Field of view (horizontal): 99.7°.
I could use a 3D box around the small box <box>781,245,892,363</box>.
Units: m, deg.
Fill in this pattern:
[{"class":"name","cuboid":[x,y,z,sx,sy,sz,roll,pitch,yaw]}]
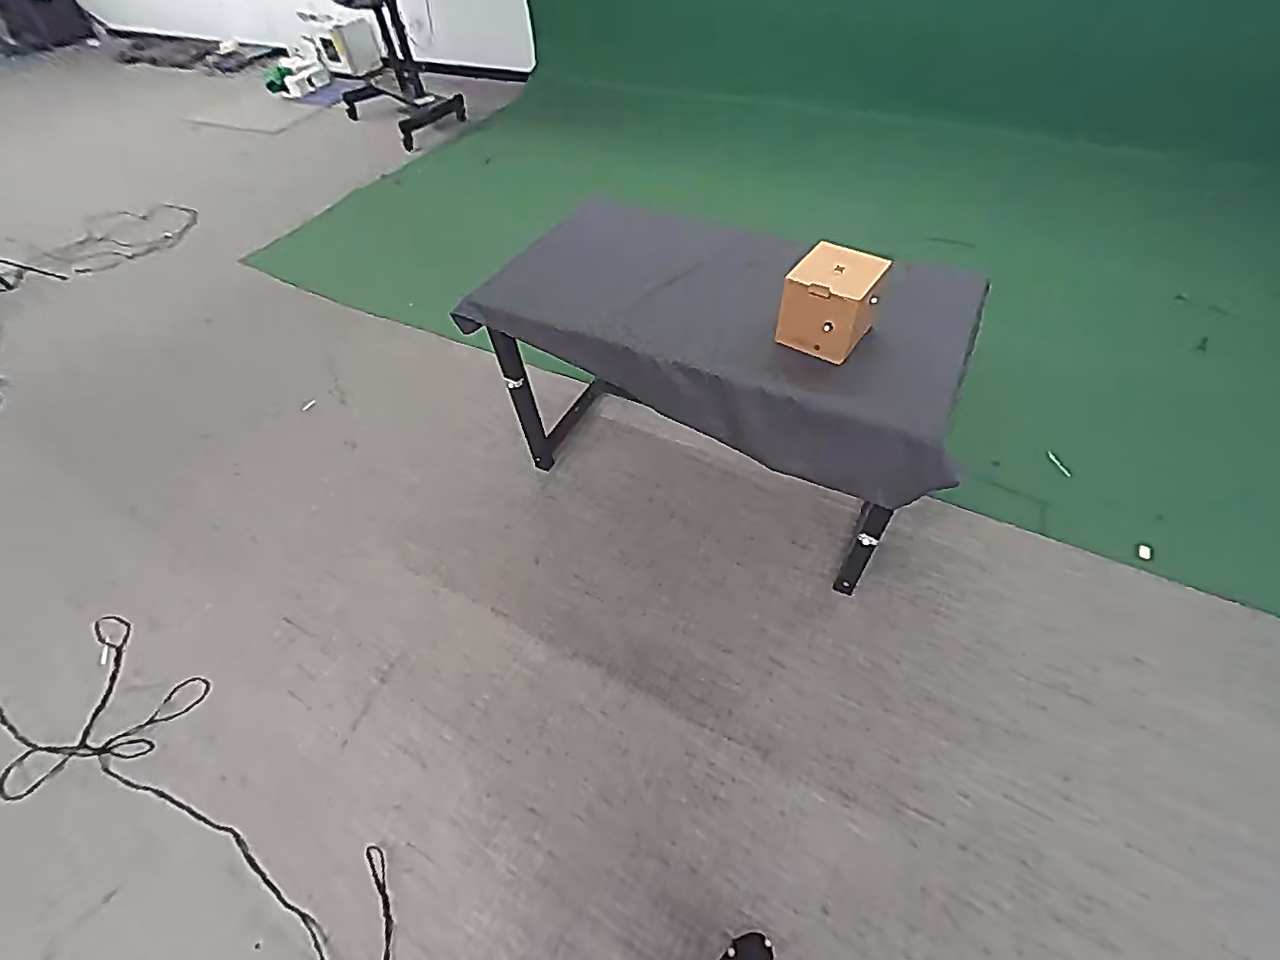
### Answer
[{"class":"small box","cuboid":[0.432,-0.392,1.216,0.168,0.176,0.179,30,59,23]}]
